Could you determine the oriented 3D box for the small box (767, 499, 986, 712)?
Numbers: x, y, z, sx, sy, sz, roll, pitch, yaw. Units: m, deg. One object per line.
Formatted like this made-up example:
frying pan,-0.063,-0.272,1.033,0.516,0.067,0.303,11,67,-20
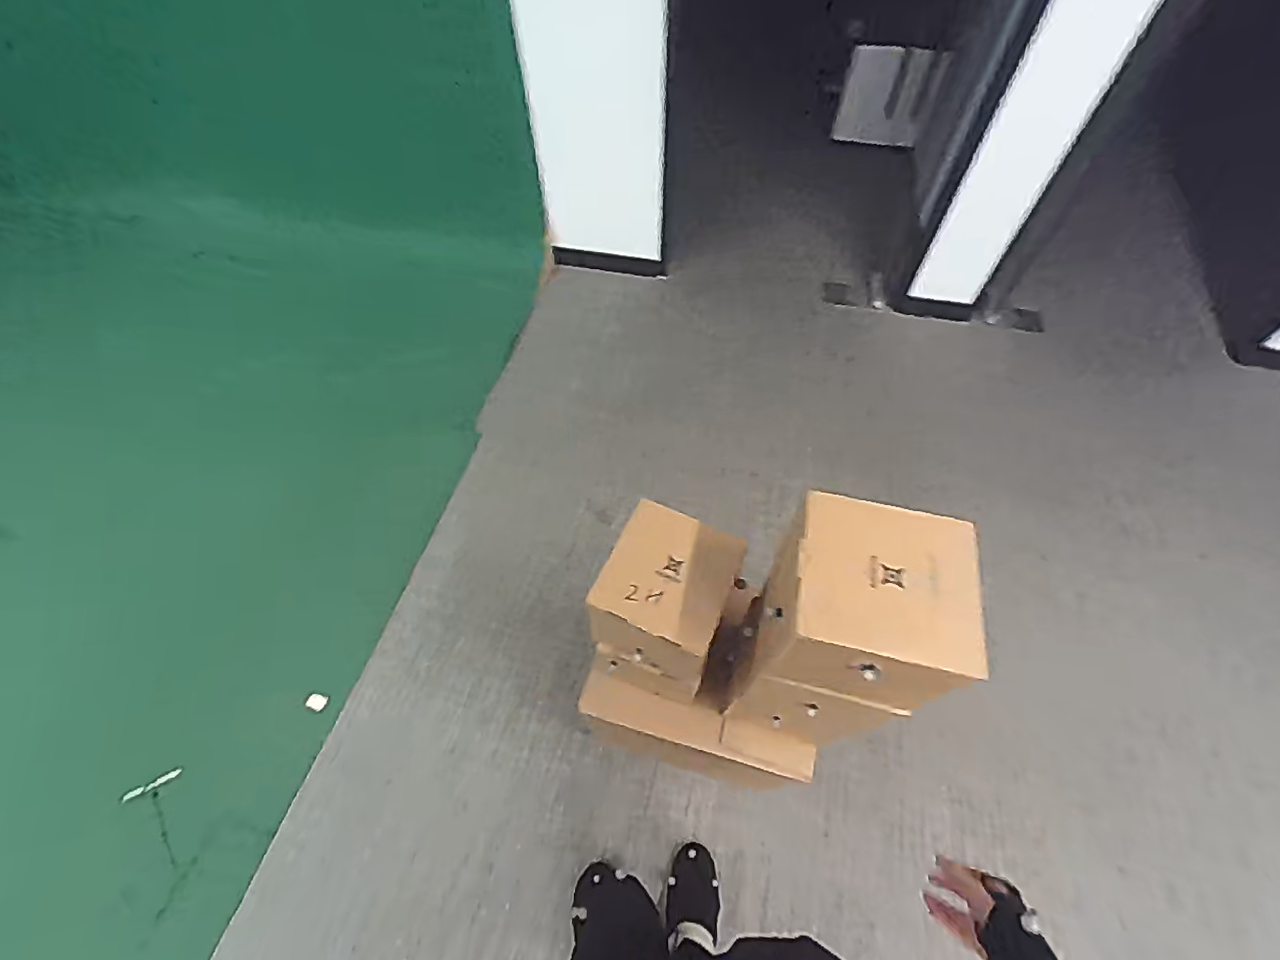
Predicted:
small box,0.249,0.146,0.605,0.179,0.176,0.168,12,59,8
